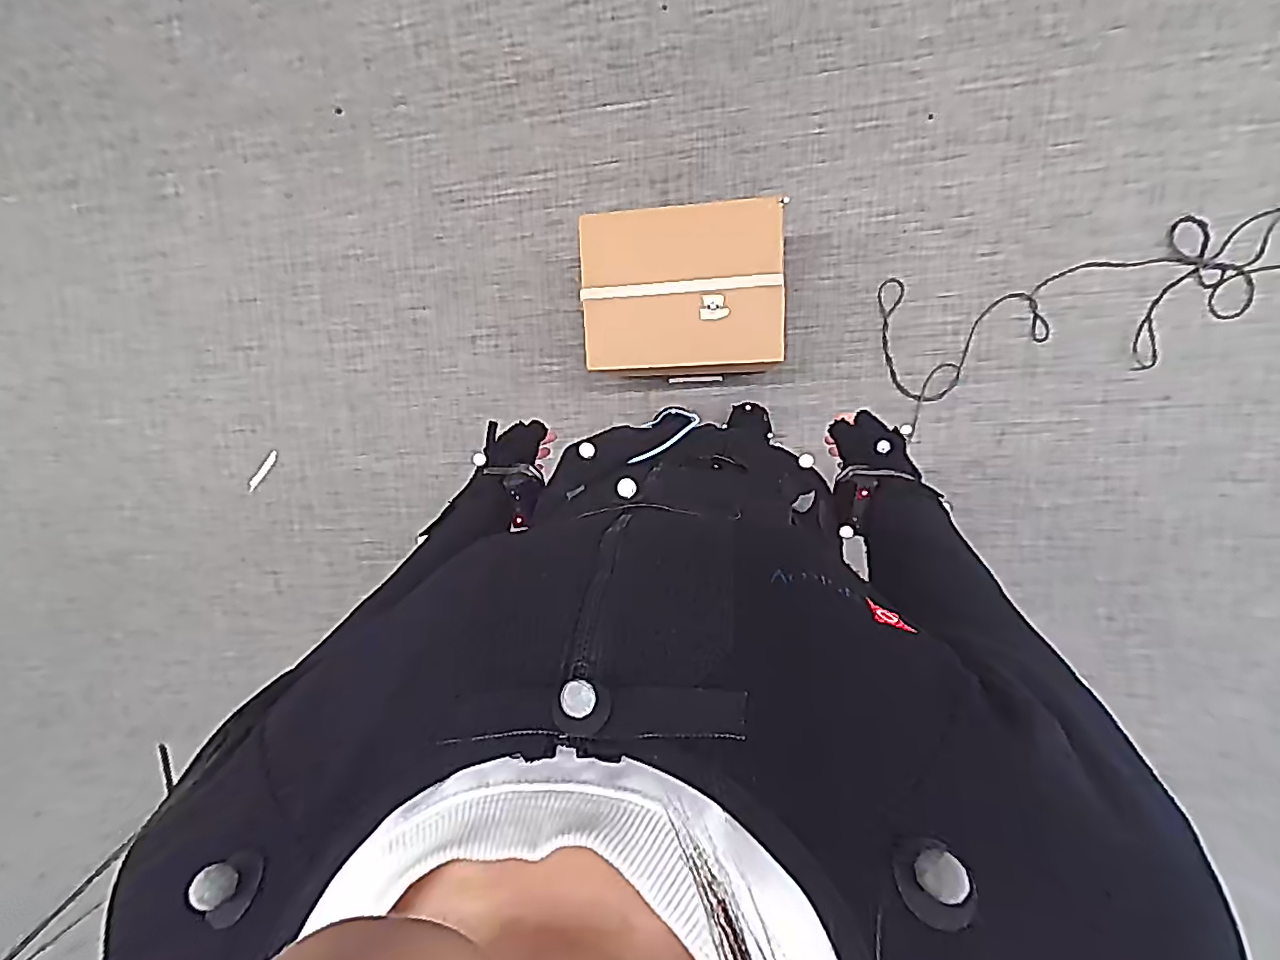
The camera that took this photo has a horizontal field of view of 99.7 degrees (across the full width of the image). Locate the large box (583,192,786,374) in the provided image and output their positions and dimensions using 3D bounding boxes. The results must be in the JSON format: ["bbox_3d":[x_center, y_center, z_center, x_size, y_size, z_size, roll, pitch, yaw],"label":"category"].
[{"bbox_3d":[0.107,-0.416,1.230,0.408,0.320,0.320,-1,99,8],"label":"large box"}]
